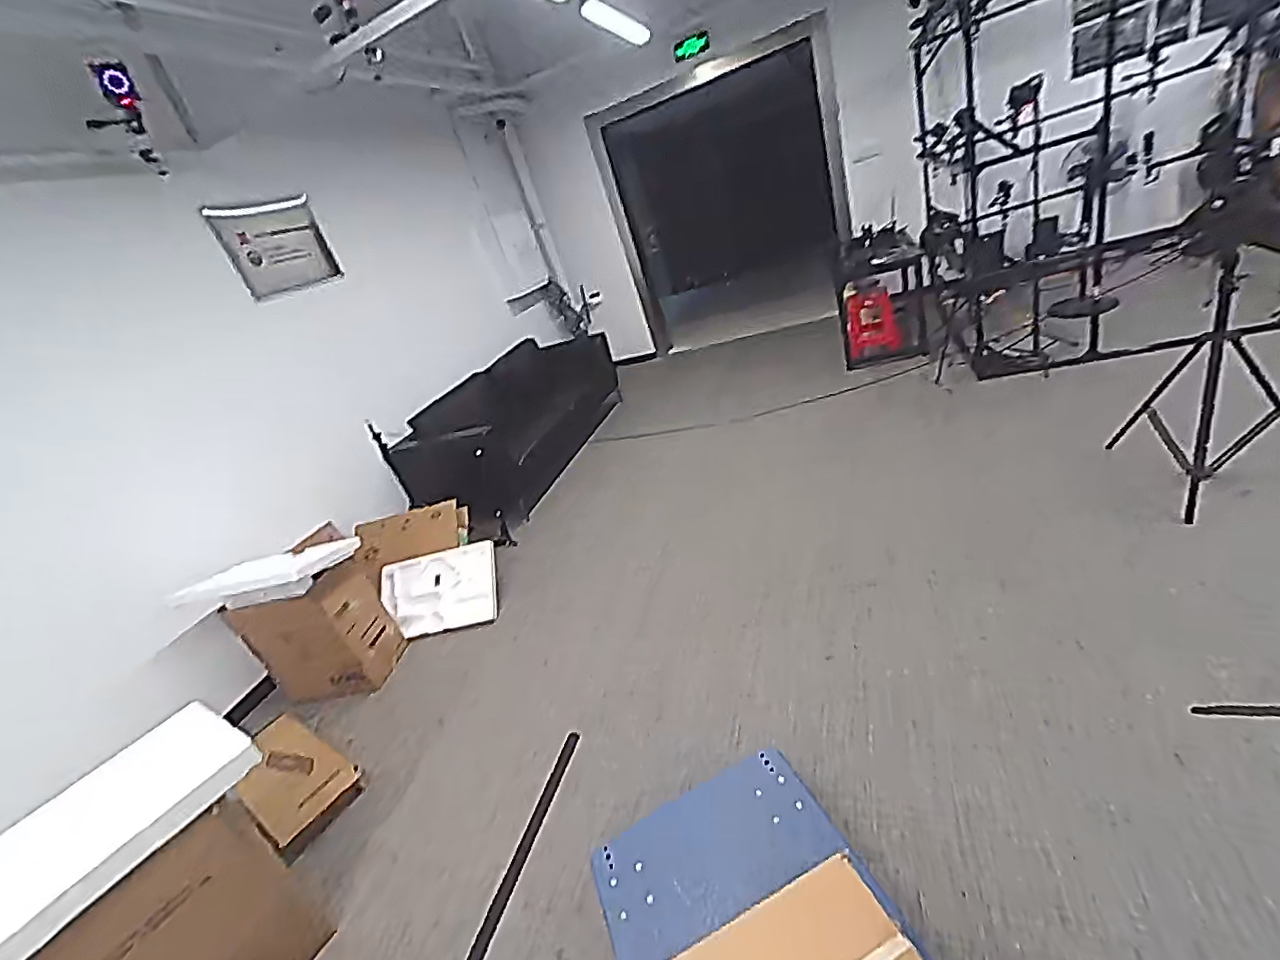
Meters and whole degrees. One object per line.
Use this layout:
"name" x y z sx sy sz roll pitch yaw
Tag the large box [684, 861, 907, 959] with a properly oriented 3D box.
"large box" 0.270 0.939 0.857 0.408 0.320 0.320 -23 26 -12
